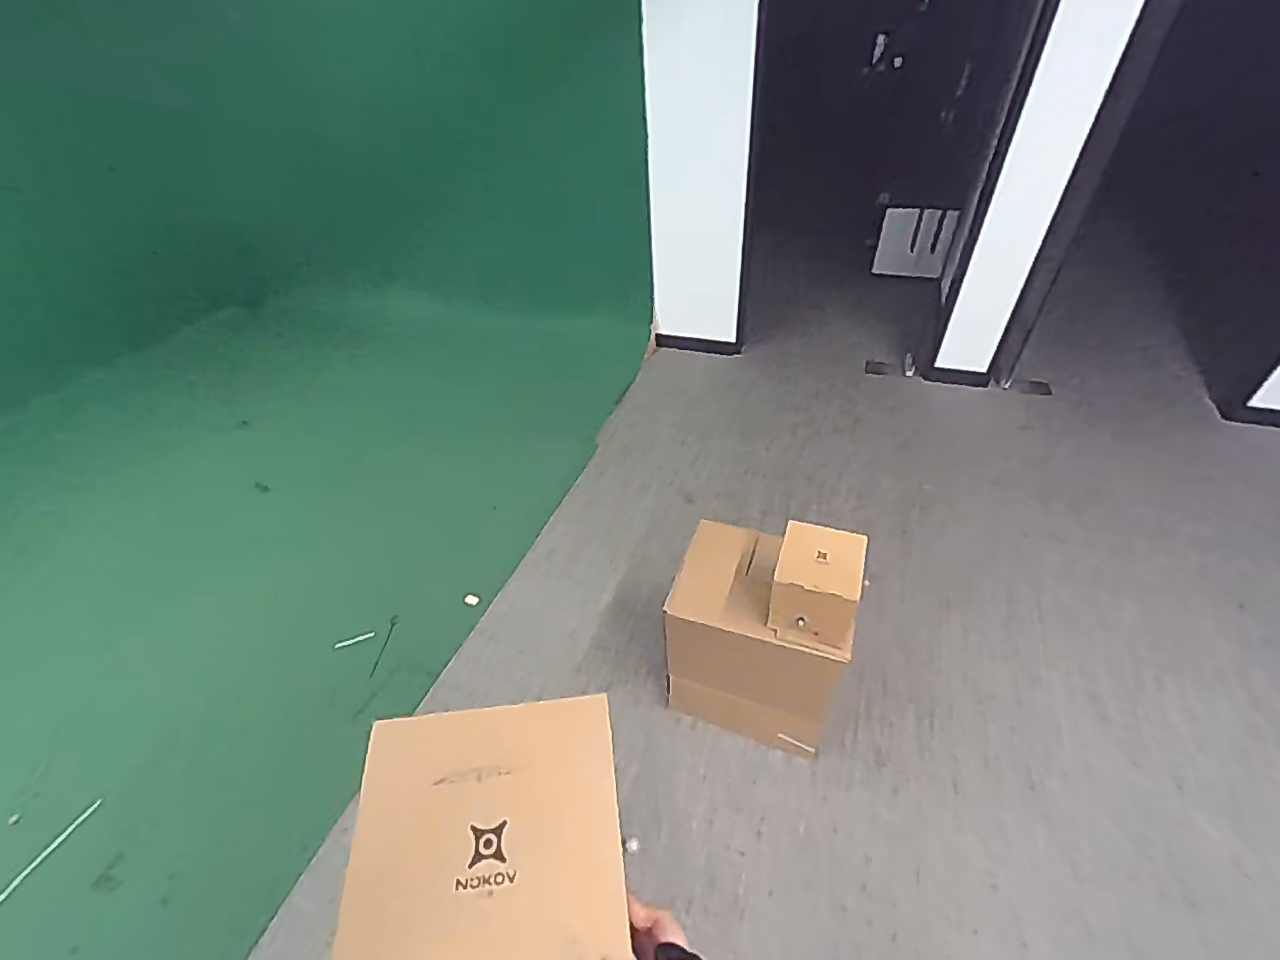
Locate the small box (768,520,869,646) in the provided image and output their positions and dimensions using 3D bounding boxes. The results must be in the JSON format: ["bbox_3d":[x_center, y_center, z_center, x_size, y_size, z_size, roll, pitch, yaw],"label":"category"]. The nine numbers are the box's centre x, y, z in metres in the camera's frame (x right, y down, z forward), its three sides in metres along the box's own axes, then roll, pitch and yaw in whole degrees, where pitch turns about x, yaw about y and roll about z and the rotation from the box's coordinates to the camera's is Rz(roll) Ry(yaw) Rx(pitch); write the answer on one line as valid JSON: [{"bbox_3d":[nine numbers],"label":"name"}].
[{"bbox_3d":[0.378,0.220,1.158,0.168,0.176,0.179,13,45,19],"label":"small box"}]

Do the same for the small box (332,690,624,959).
[{"bbox_3d":[-0.099,0.275,0.401,0.168,0.176,0.179,-2,51,-7],"label":"small box"}]
